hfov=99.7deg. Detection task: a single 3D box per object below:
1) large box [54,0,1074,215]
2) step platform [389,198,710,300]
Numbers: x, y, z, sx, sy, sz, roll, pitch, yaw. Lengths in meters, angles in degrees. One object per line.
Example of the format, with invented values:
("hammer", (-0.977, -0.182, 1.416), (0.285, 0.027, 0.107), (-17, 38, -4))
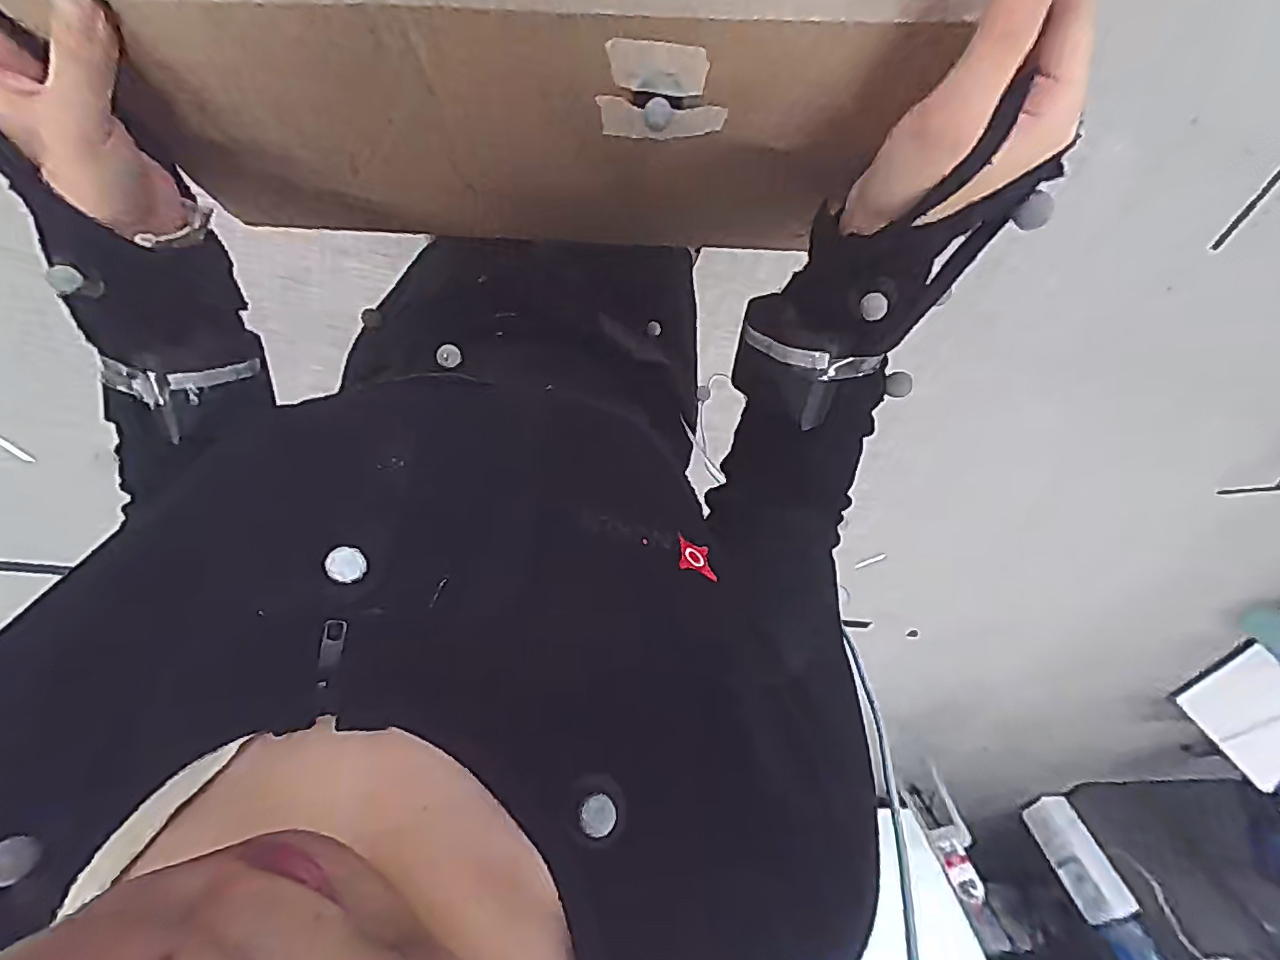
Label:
("large box", (-0.031, -0.341, 0.203), (0.408, 0.320, 0.320), (3, 169, 1))
("step platform", (-0.188, -0.644, 1.182), (0.684, 0.204, 0.286), (14, 124, -18))
